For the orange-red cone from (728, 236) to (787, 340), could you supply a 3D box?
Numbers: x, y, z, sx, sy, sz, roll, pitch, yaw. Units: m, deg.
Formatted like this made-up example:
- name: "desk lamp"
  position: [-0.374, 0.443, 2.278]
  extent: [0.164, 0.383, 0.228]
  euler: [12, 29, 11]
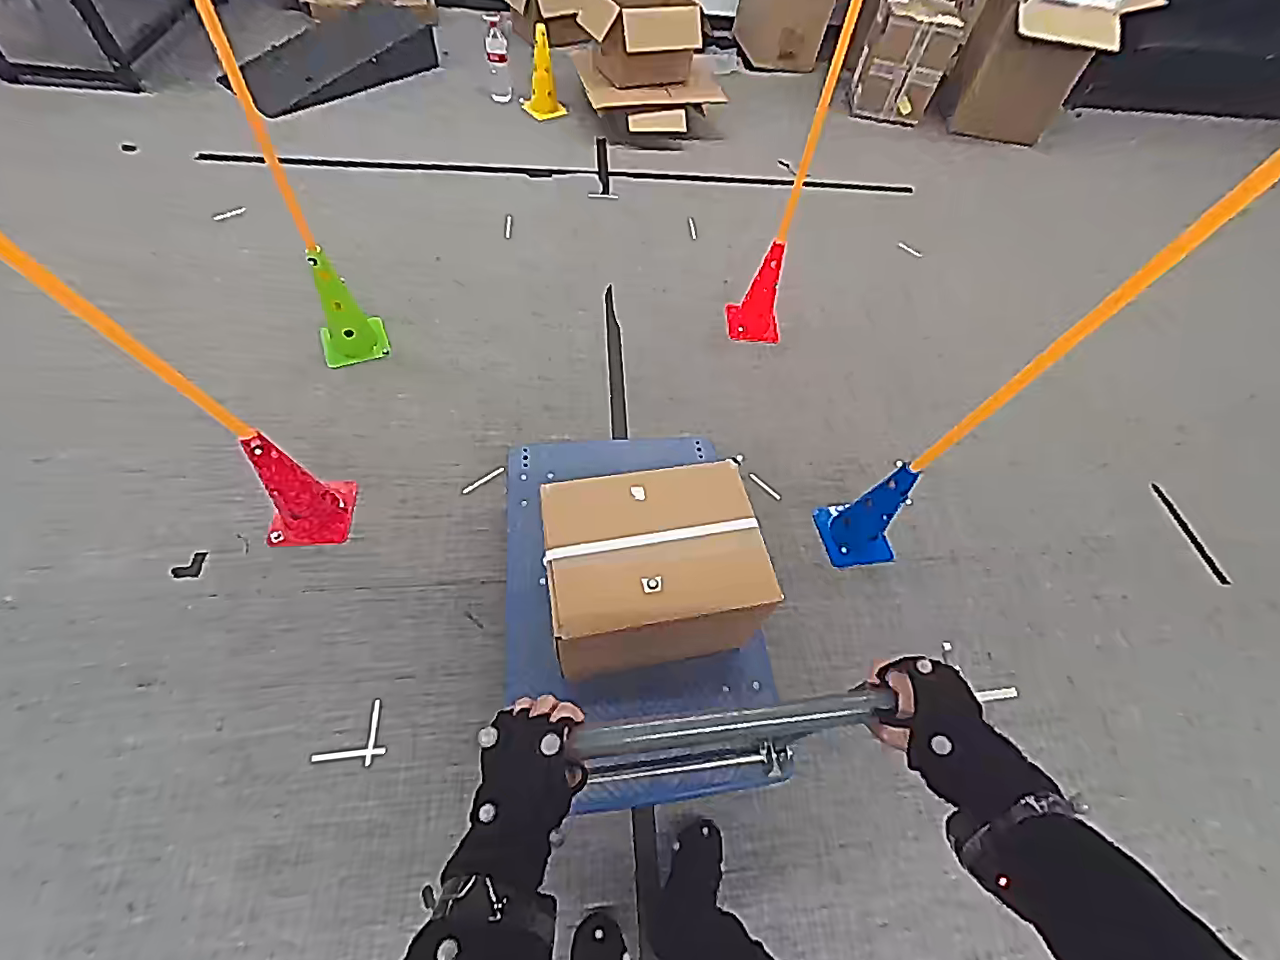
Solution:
- name: "orange-red cone"
  position: [0.456, -0.706, 1.940]
  extent: [0.199, 0.360, 0.198]
  euler: [5, 58, -5]

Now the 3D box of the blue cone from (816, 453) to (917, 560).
- name: "blue cone"
  position: [0.656, 0.059, 1.488]
  extent: [0.193, 0.380, 0.192]
  euler: [-4, 57, -10]
